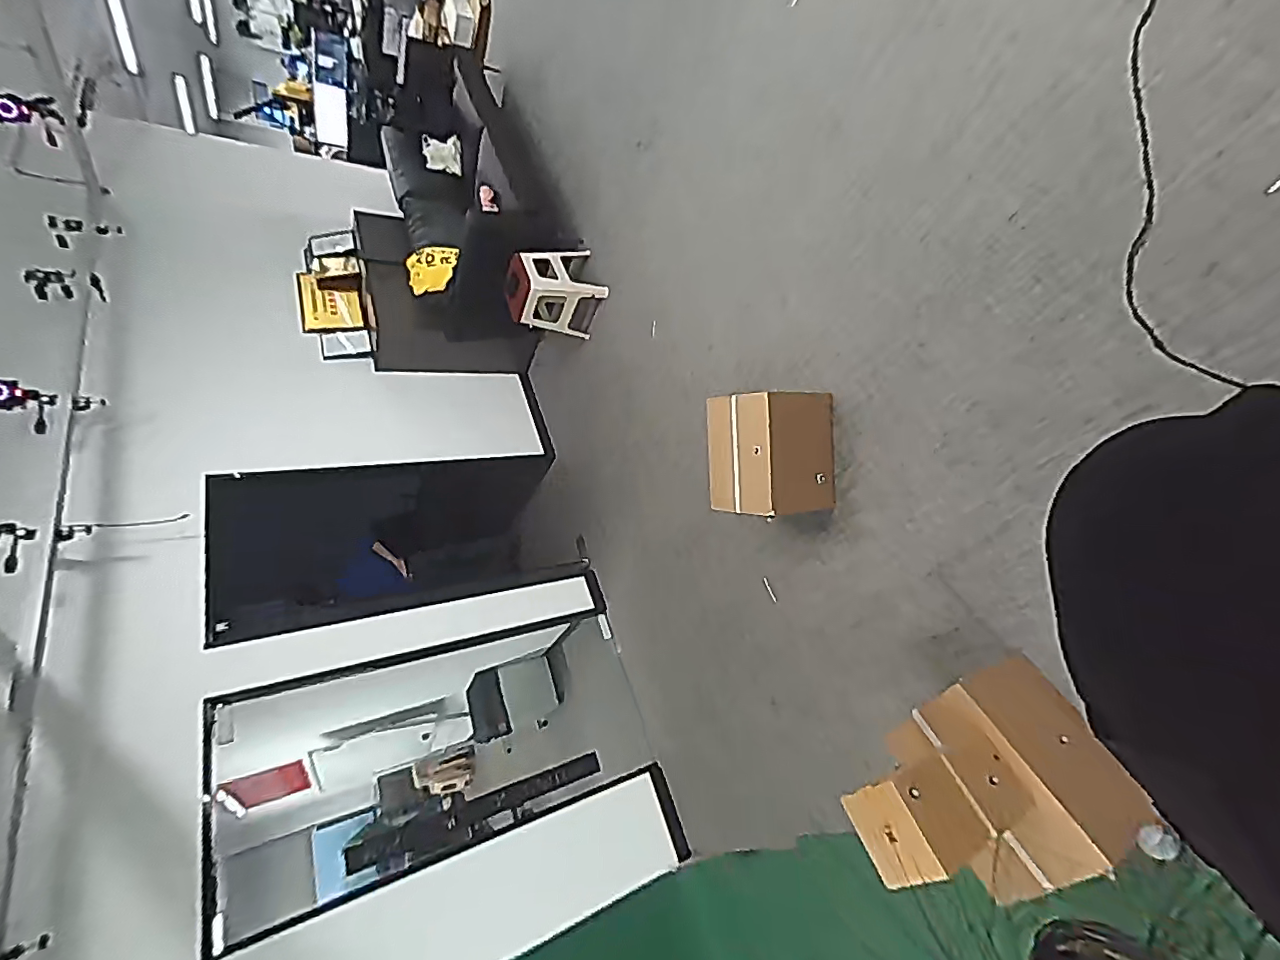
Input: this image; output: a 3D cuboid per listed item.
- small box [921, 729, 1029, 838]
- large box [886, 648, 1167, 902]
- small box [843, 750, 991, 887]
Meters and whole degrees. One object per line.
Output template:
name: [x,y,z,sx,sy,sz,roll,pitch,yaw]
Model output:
small box: [0.707,0.676,1.188,0.168,0.176,0.179,63,142,32]
large box: [0.916,0.695,1.323,0.408,0.320,0.320,56,140,35]
small box: [0.566,0.690,1.109,0.179,0.176,0.168,63,142,31]
